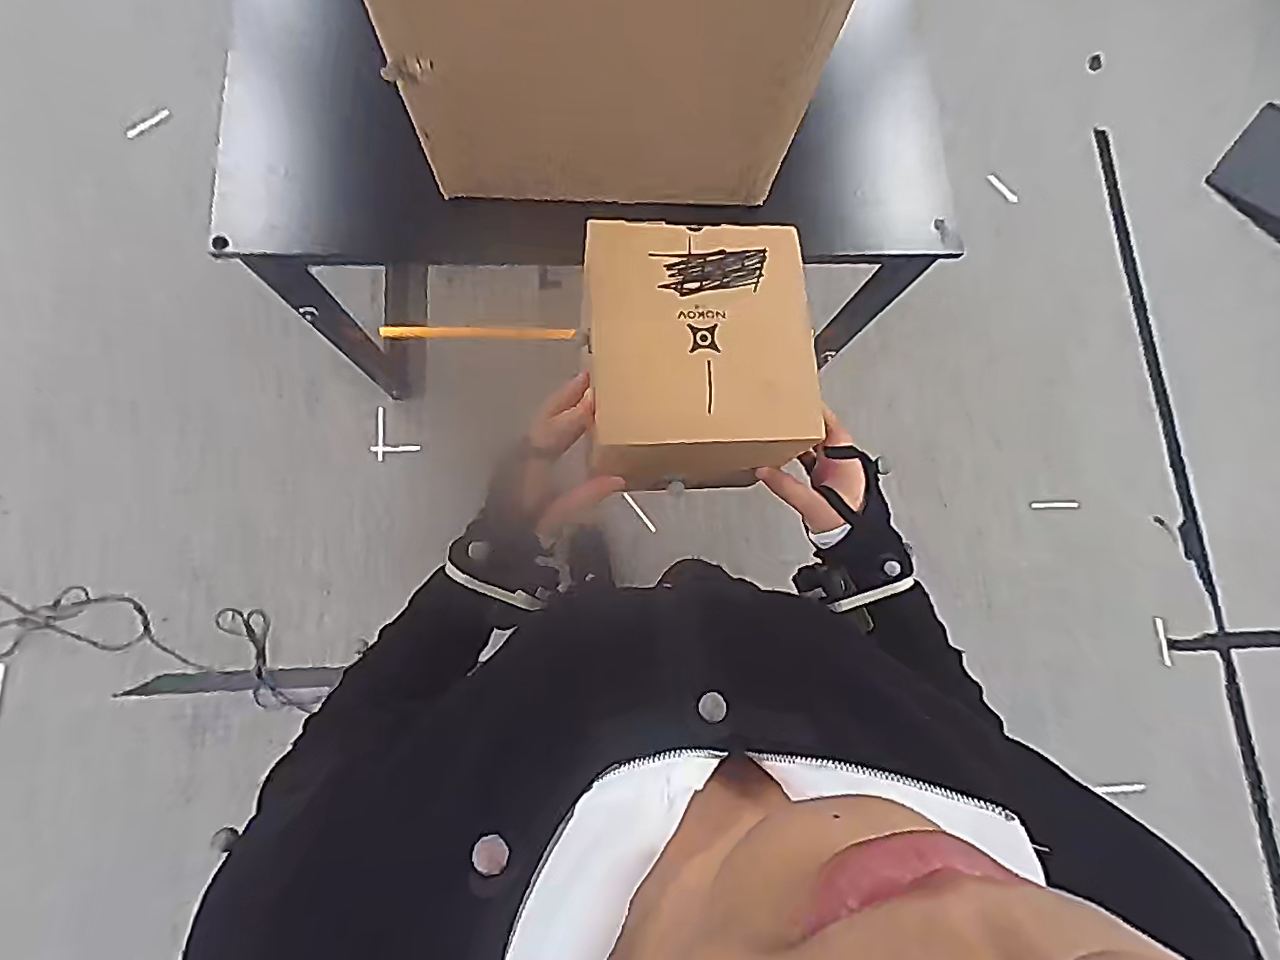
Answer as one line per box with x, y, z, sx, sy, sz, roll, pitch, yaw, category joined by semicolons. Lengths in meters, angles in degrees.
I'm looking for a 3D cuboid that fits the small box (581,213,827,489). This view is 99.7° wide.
0.037;-0.096;0.467;0.168;0.176;0.179;-2;78;-8;small box
